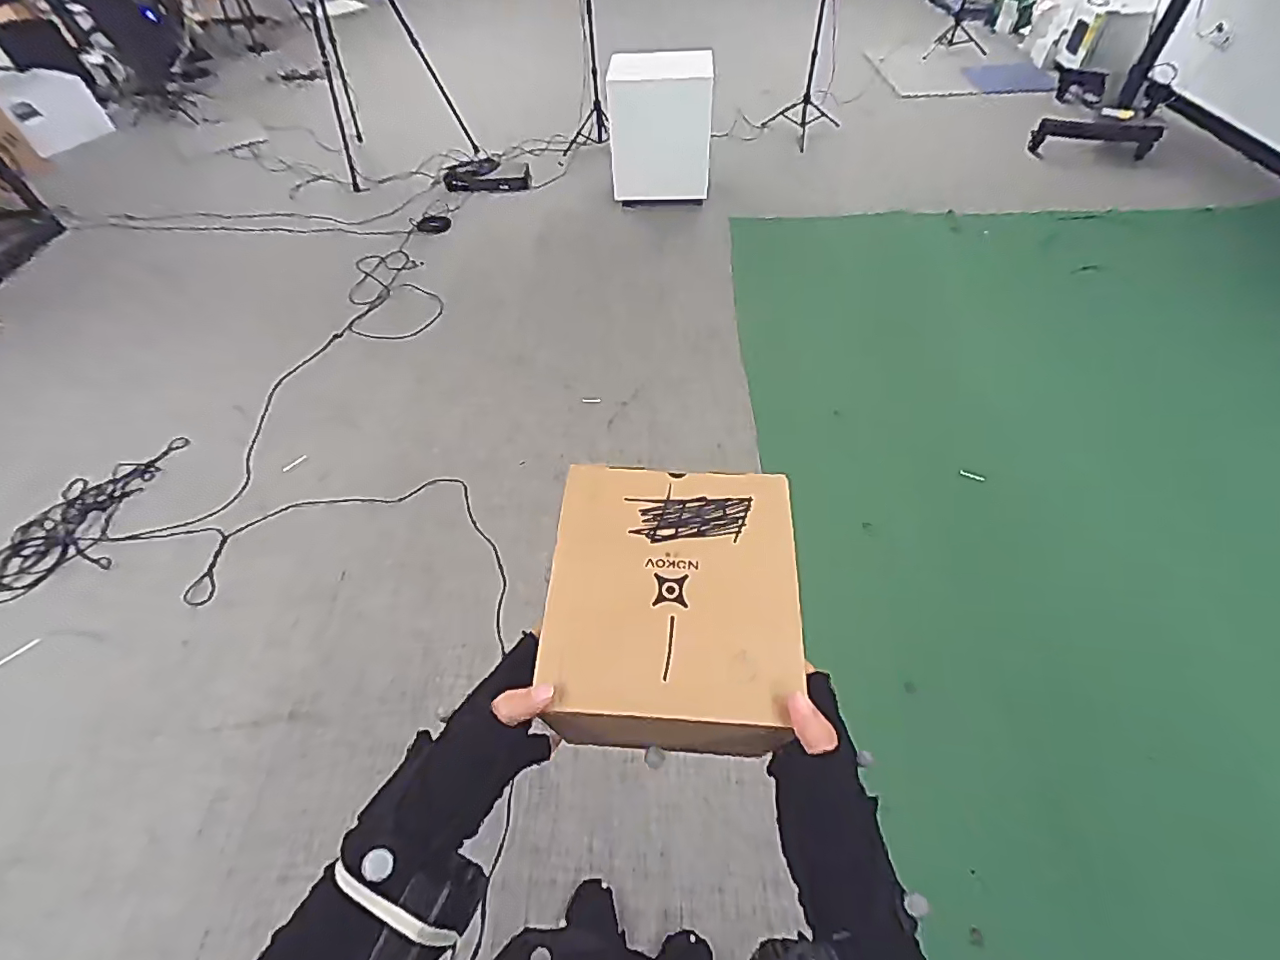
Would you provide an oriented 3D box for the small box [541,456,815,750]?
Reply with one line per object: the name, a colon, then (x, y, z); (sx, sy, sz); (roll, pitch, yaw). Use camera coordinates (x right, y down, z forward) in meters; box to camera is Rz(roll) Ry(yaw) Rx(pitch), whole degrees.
small box: (0.029, 0.102, 0.430); (0.168, 0.176, 0.179); (3, 58, 3)
